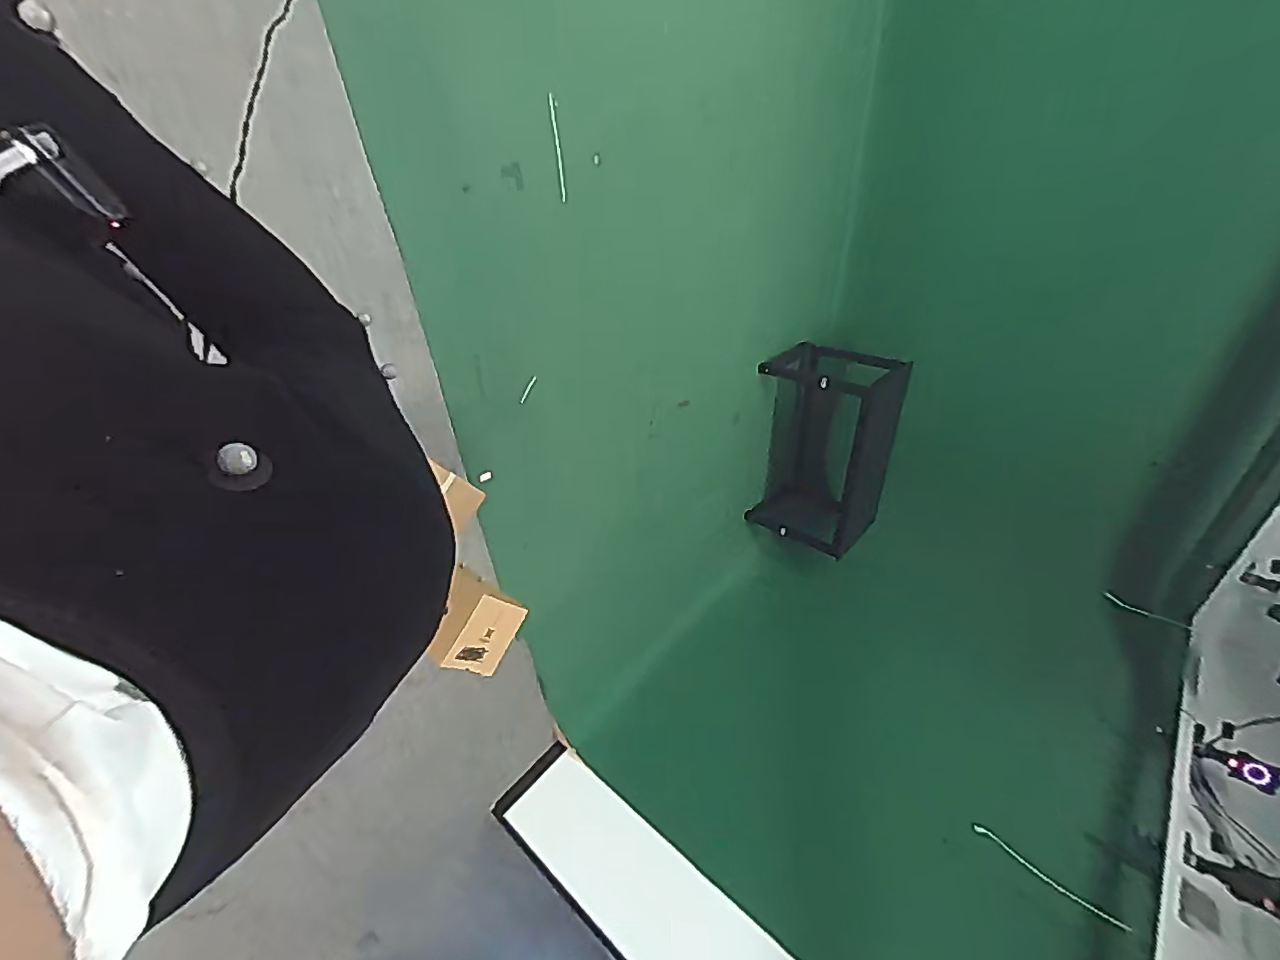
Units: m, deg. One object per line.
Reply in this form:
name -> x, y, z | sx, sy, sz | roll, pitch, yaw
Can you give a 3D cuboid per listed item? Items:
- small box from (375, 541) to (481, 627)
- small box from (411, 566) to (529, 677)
small box -> -0.521, 0.276, 1.363 | 0.168, 0.176, 0.179 | -59, 143, -12
small box -> -0.402, 0.329, 1.263 | 0.179, 0.176, 0.168 | -61, 144, -11
